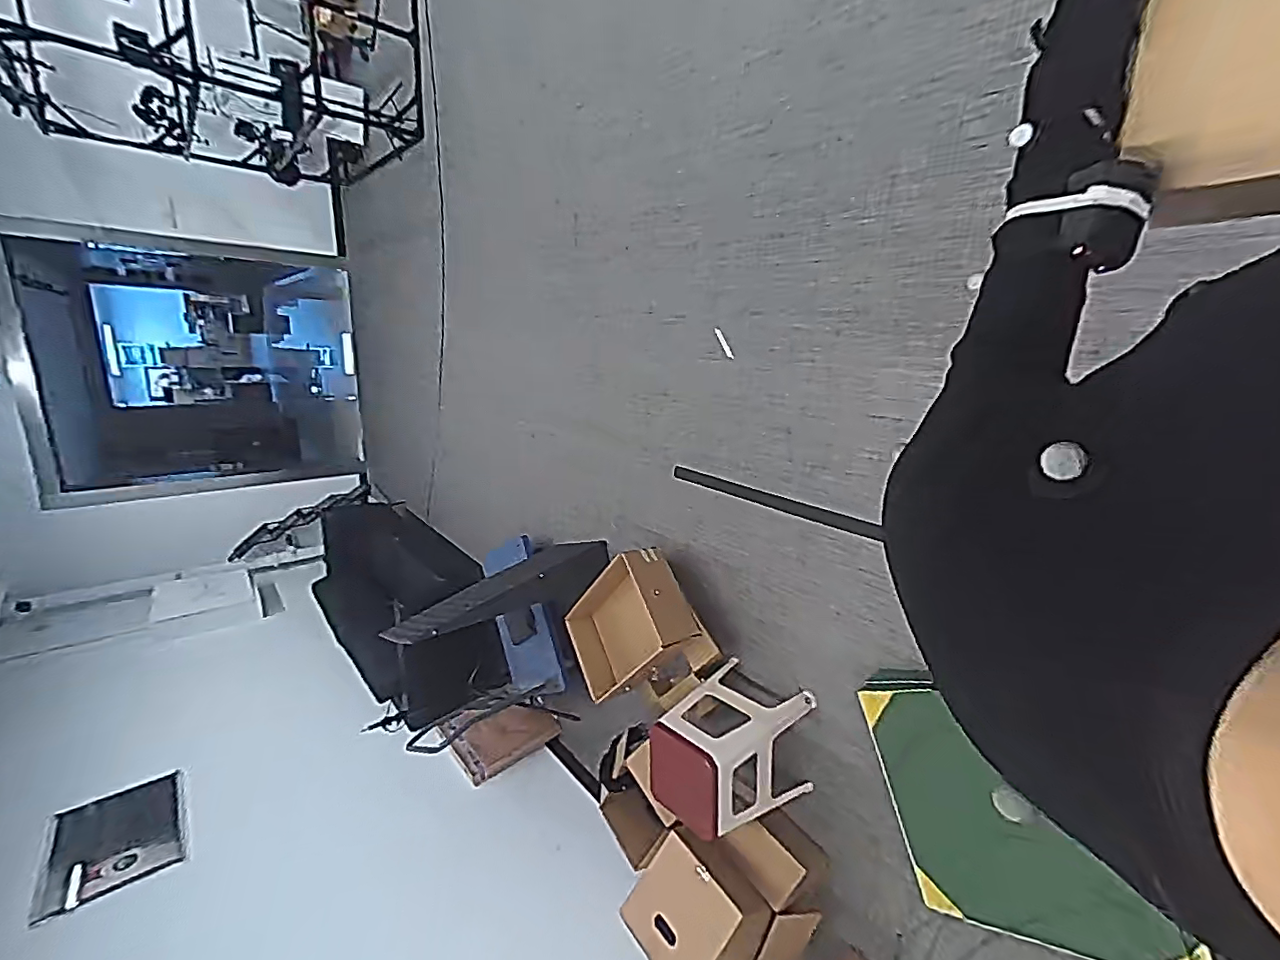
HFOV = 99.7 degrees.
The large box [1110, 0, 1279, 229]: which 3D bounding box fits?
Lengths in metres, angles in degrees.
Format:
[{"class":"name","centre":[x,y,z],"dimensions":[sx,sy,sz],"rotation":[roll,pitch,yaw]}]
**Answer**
[{"class":"large box","centre":[0.622,-0.376,0.366],"dimensions":[0.408,0.320,0.320],"rotation":[15,115,43]}]
